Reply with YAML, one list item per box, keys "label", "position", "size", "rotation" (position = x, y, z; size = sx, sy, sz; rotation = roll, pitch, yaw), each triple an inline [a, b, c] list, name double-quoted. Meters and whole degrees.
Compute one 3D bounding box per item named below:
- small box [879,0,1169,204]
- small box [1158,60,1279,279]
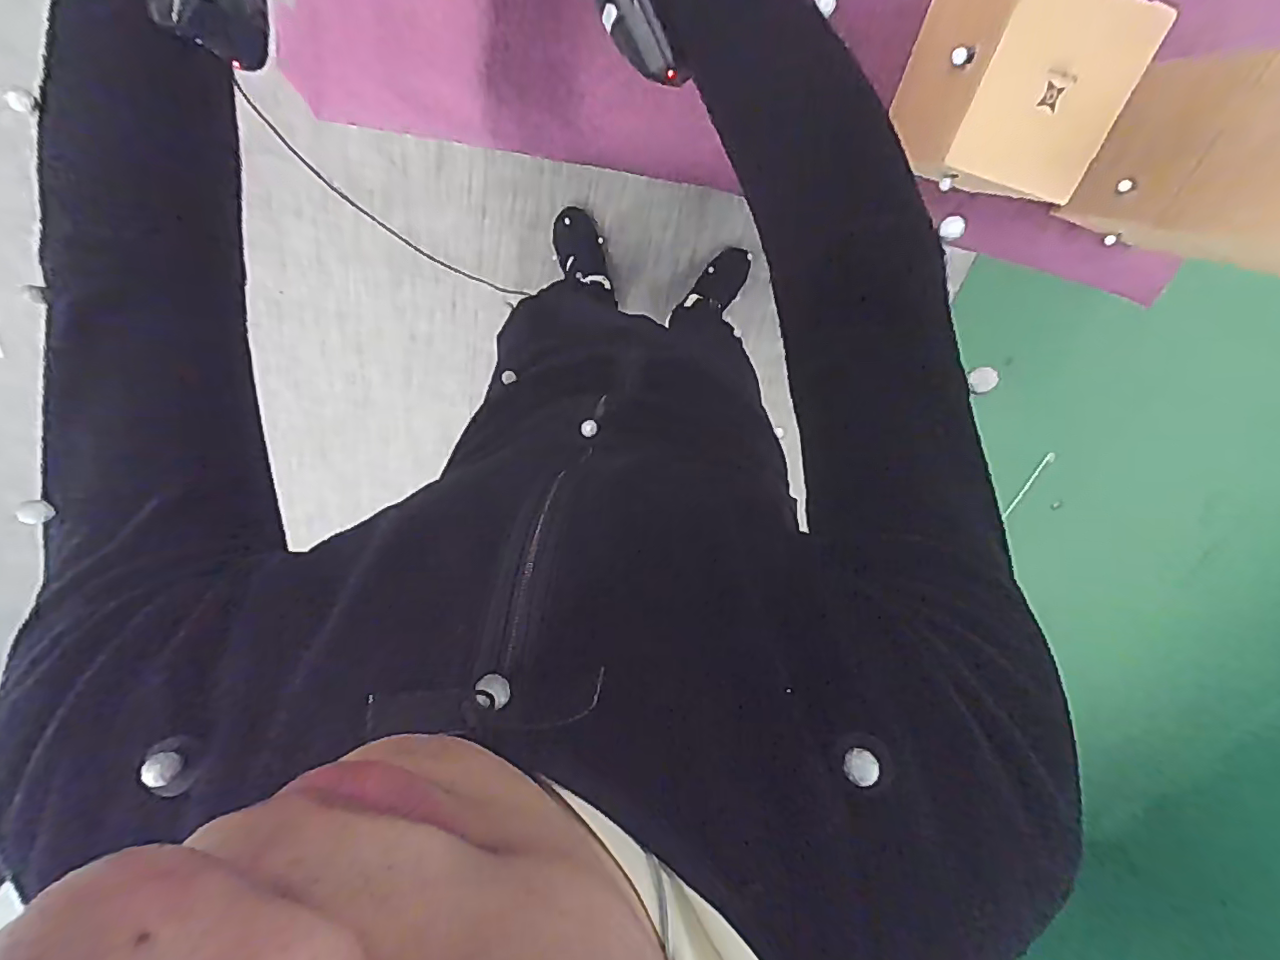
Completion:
- label: "small box"
  position: [0.403, -0.434, 0.611]
  size: [0.168, 0.176, 0.179]
  rotation: [9, 119, -12]
- label: "small box"
  position: [0.692, -0.300, 0.531]
  size: [0.168, 0.176, 0.179]
  rotation: [12, 120, -12]
